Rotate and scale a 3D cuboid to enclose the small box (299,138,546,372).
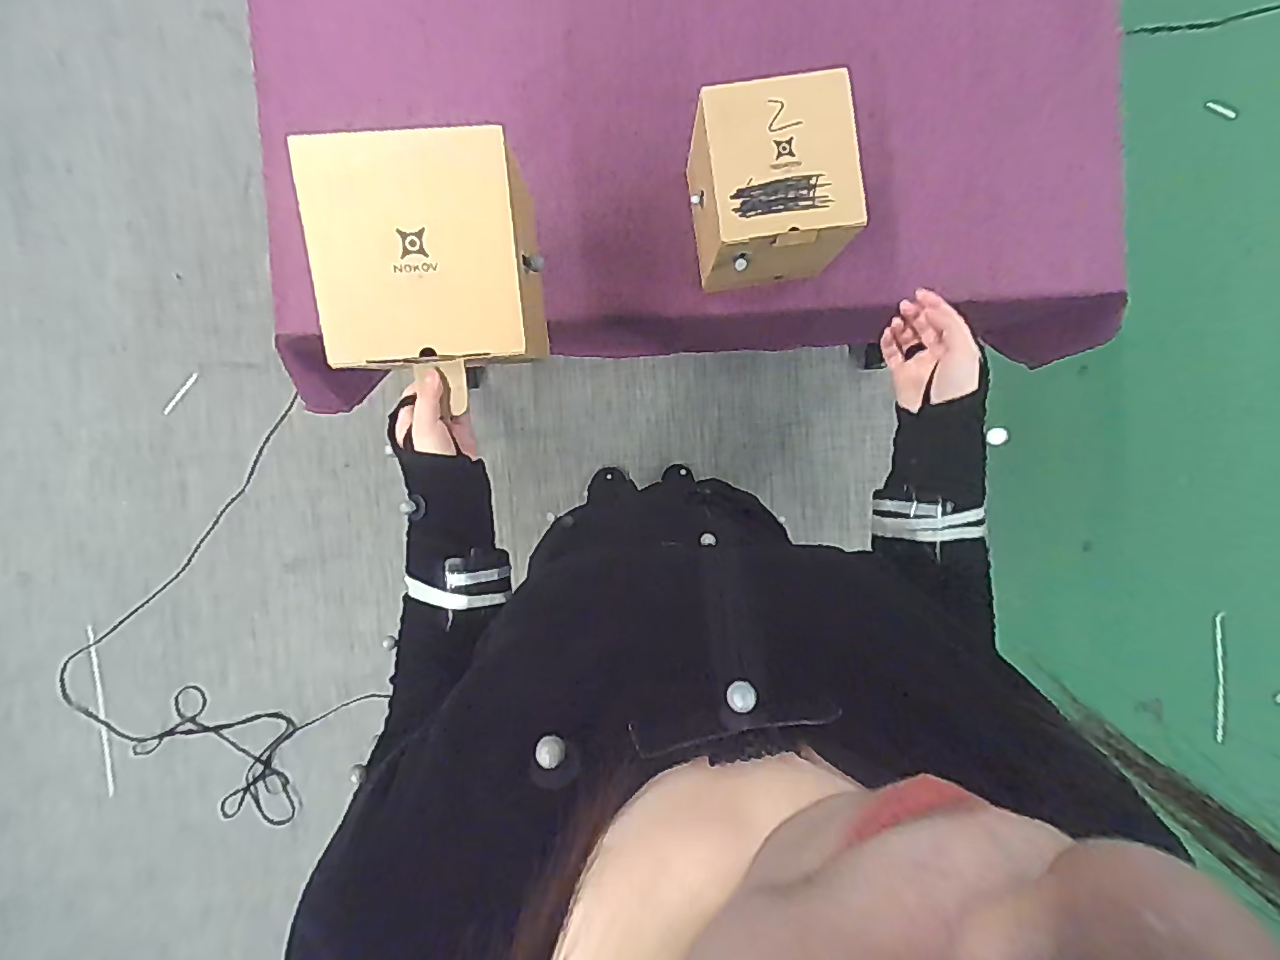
[{"bbox_3d":[-0.187,-0.198,0.521,0.168,0.176,0.179,-4,102,-2],"label":"small box"}]
